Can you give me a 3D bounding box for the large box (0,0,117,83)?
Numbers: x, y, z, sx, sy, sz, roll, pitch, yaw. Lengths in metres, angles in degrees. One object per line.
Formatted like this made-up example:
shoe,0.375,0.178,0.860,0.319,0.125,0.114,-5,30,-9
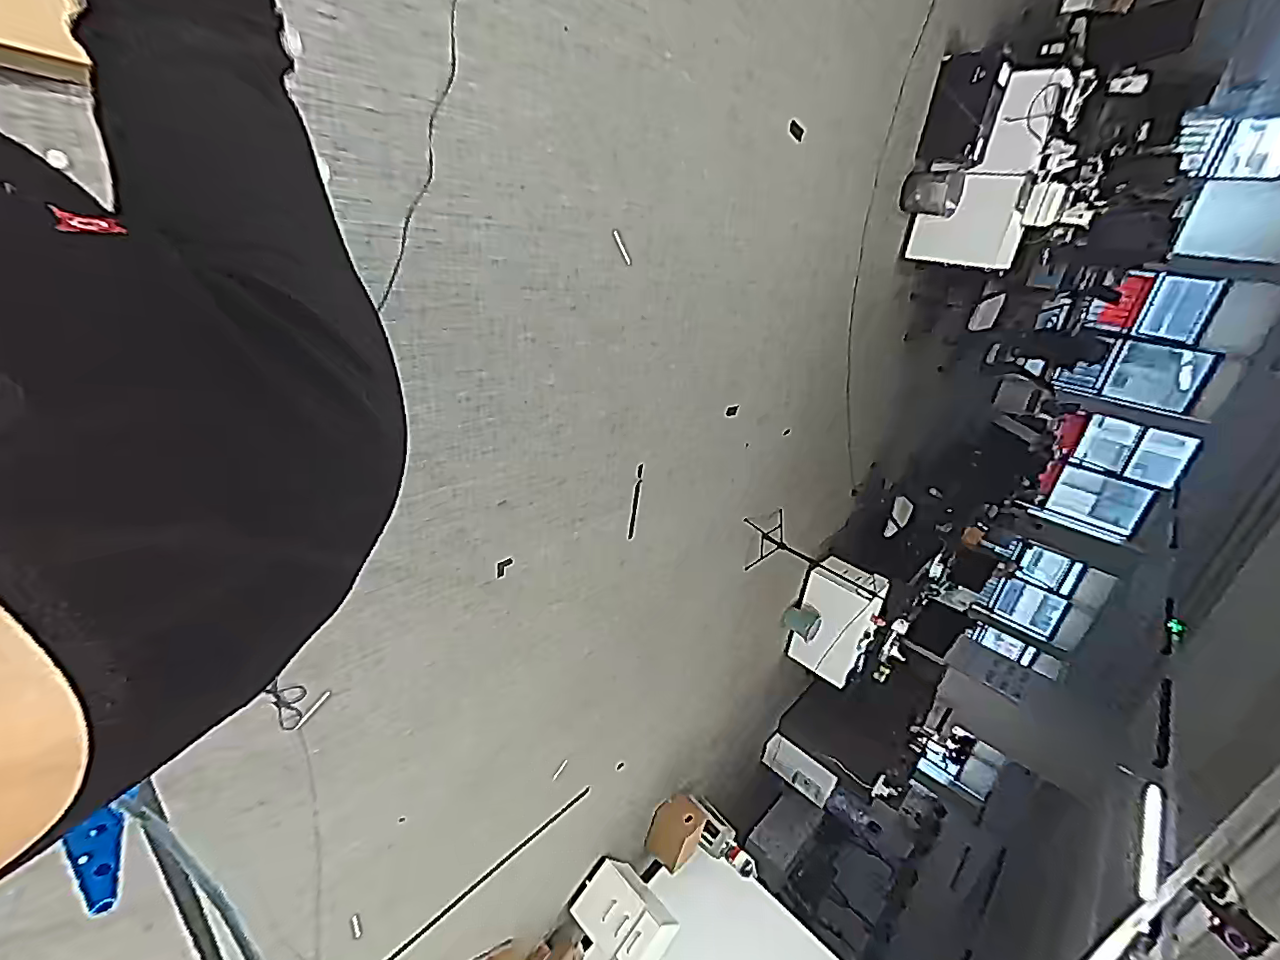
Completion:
large box,-0.968,-0.736,0.659,0.408,0.320,0.320,-17,124,-45
